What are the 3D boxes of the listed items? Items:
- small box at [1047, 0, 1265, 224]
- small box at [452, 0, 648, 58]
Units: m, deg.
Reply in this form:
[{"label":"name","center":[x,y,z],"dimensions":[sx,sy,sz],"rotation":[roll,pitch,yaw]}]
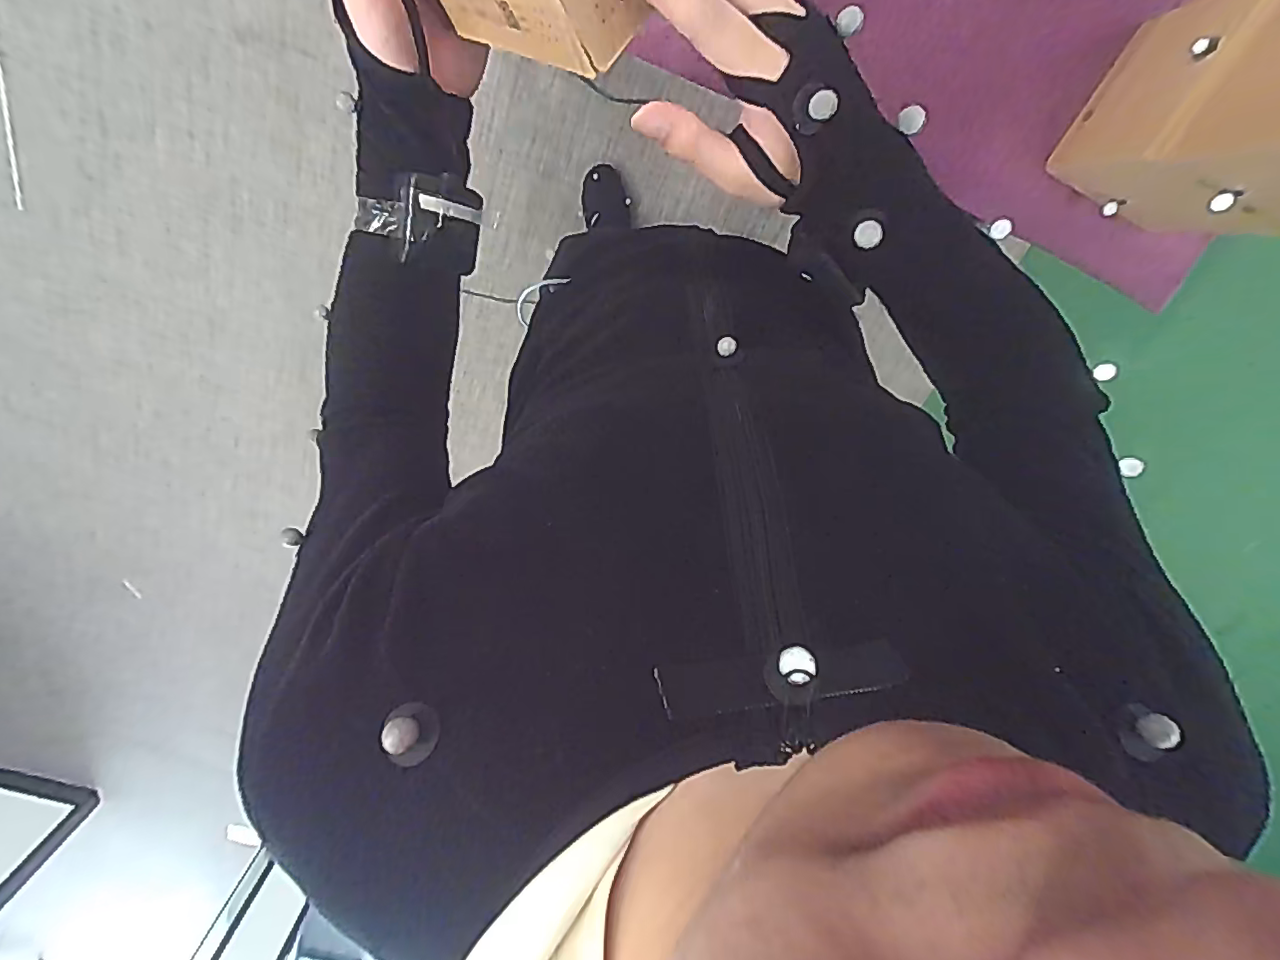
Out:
[{"label":"small box","center":[0.617,-0.405,0.592],"dimensions":[0.179,0.176,0.168],"rotation":[23,115,-9]},{"label":"small box","center":[-0.049,-0.338,0.227],"dimensions":[0.179,0.168,0.176],"rotation":[-52,150,5]}]
